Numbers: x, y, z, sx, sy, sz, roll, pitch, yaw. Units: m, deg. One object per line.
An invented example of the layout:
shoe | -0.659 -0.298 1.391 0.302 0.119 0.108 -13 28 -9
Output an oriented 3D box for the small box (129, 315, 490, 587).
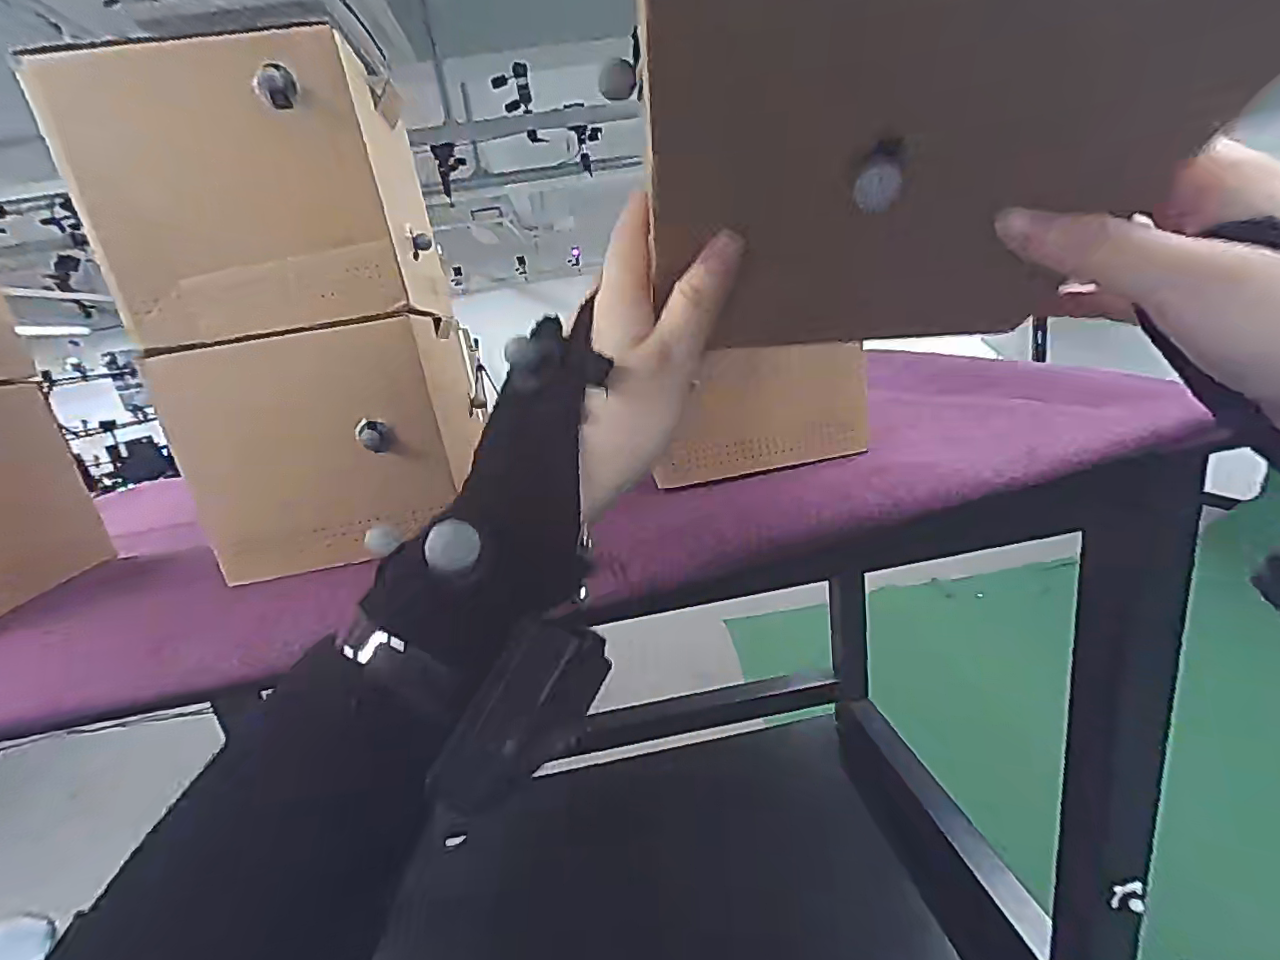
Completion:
small box | -0.234 -0.035 0.444 0.179 0.176 0.168 -12 17 -5

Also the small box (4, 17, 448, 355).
small box | -0.263 -0.189 0.400 0.179 0.176 0.168 -12 17 -6

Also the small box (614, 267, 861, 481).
small box | 0.078 -0.105 0.487 0.179 0.176 0.168 -10 15 -2

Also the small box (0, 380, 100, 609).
small box | -0.566 0.034 0.391 0.168 0.176 0.179 -10 18 -6

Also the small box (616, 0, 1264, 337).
small box | 0.082 -0.172 0.211 0.179 0.168 0.176 -3 -19 3
